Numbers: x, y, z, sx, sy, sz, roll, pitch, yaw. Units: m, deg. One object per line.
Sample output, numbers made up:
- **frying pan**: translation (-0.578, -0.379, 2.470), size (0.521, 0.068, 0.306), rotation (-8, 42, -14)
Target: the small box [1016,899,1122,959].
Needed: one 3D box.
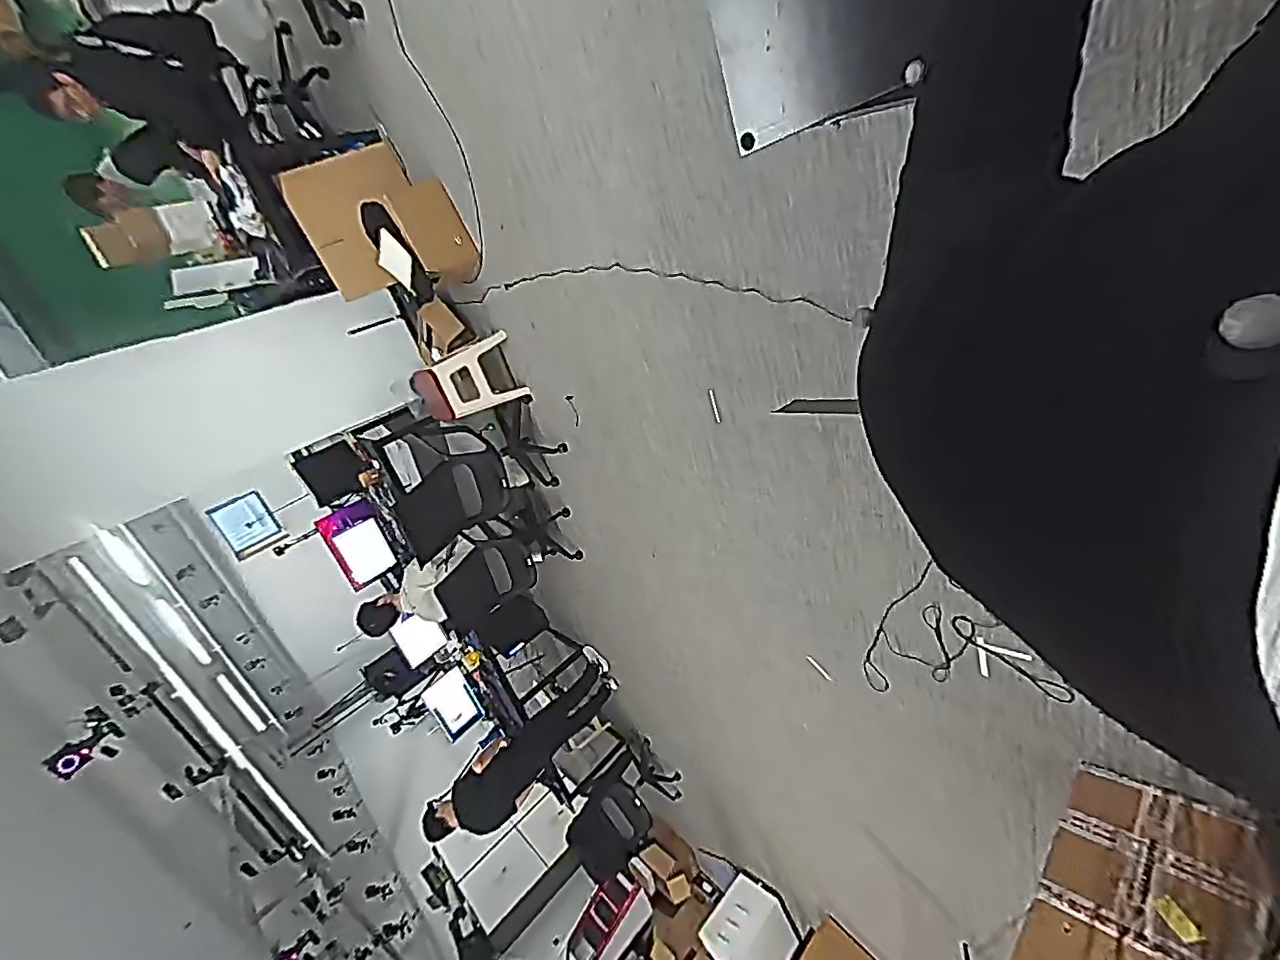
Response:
- **small box**: translation (1.127, 1.257, 1.416), size (0.179, 0.176, 0.168), rotation (-2, 114, 54)
